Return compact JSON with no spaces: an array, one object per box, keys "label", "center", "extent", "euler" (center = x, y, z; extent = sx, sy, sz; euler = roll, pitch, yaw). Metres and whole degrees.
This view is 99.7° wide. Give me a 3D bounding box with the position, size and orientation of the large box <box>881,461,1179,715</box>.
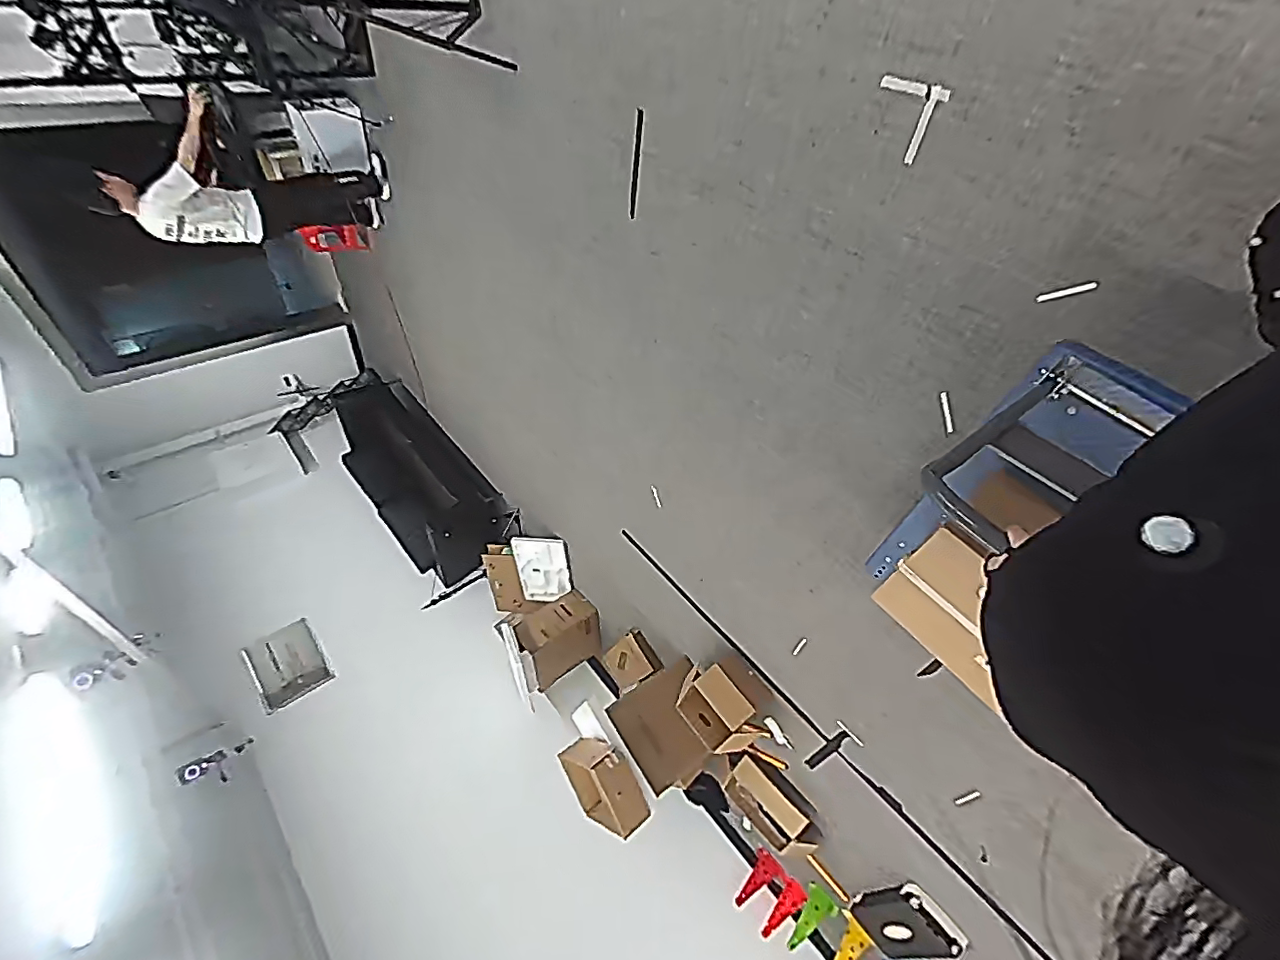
[{"label":"large box","center":[0.860,0.231,1.232],"extent":[0.408,0.320,0.320],"euler":[45,146,24]}]
